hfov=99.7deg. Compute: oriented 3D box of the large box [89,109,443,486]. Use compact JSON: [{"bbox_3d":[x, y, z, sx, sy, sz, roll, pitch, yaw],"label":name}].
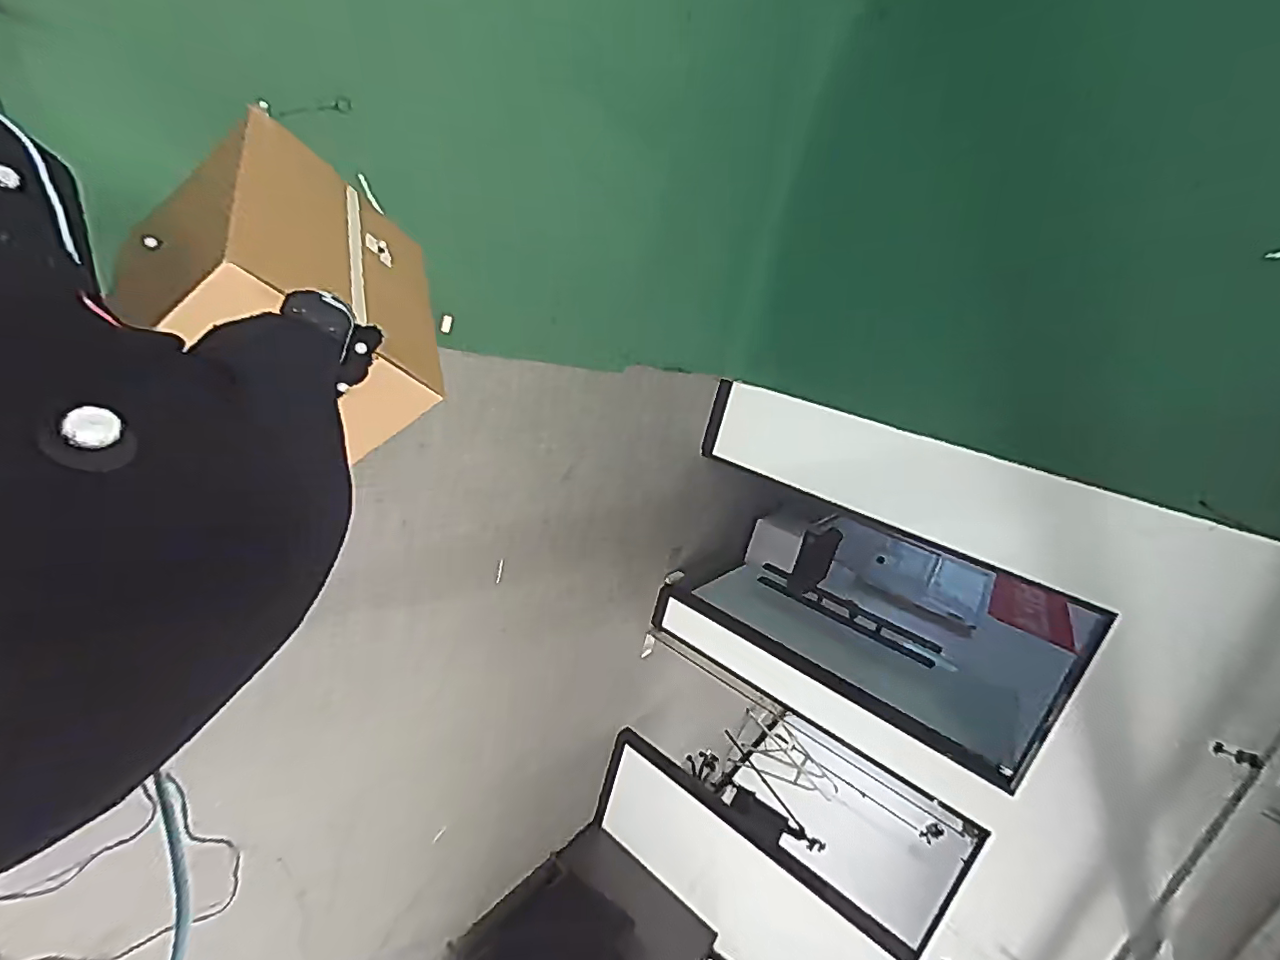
[{"bbox_3d":[-0.561,-0.264,0.855,0.320,0.408,0.320,-31,147,14],"label":"large box"}]
